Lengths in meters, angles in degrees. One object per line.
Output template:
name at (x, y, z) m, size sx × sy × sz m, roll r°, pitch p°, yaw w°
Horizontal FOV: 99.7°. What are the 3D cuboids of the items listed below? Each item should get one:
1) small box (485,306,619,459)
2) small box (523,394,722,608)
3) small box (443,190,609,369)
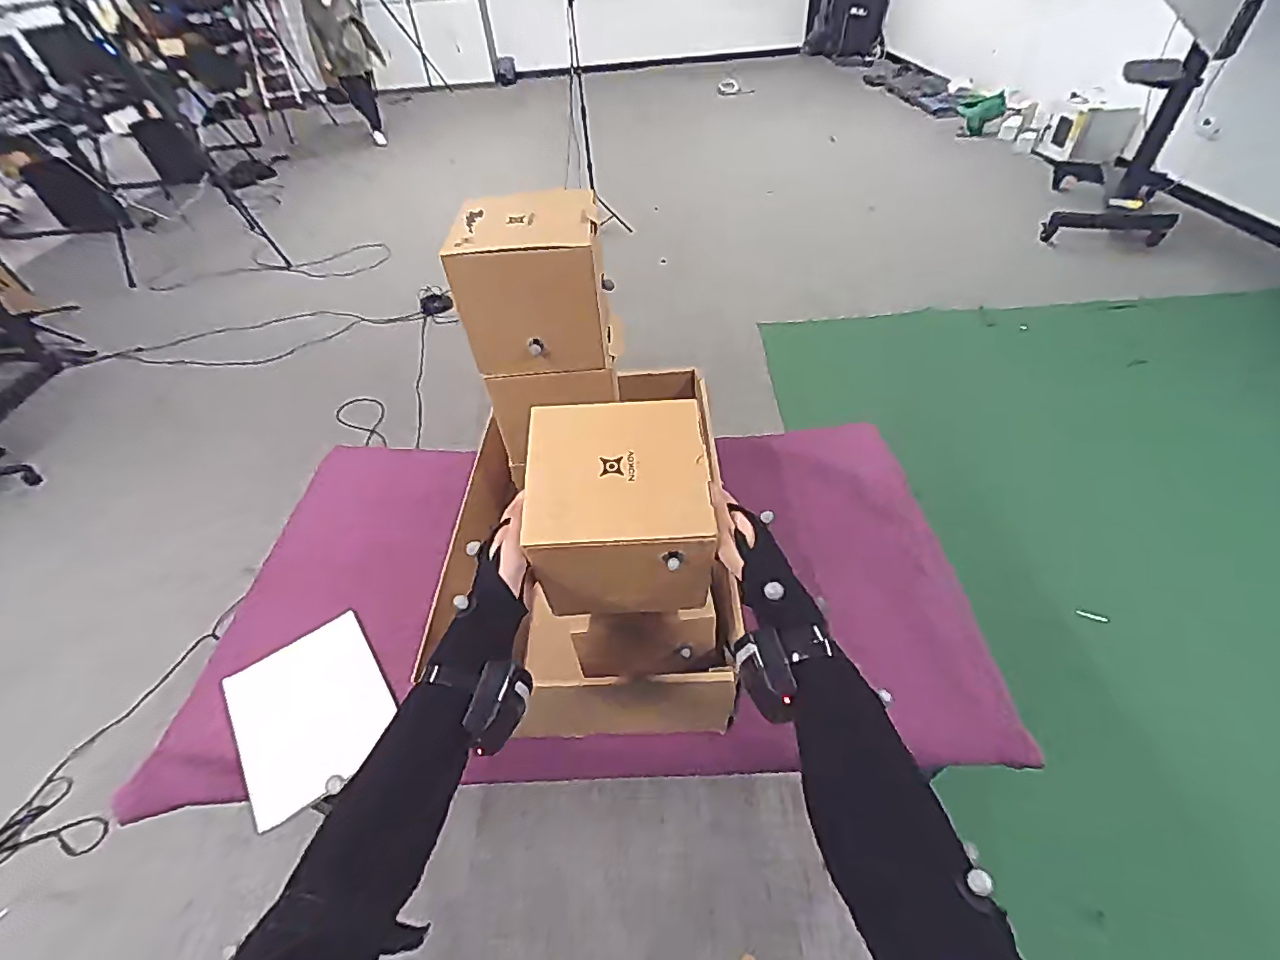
small box at (-0.122, -0.148, 0.834) m, size 0.179 × 0.176 × 0.168 m, roll -5°, pitch 47°, yaw 0°
small box at (-0.018, 0.028, 0.574) m, size 0.179 × 0.176 × 0.168 m, roll -2°, pitch 55°, yaw -2°
small box at (-0.133, -0.263, 0.717) m, size 0.179 × 0.176 × 0.168 m, roll -2°, pitch 47°, yaw 1°
